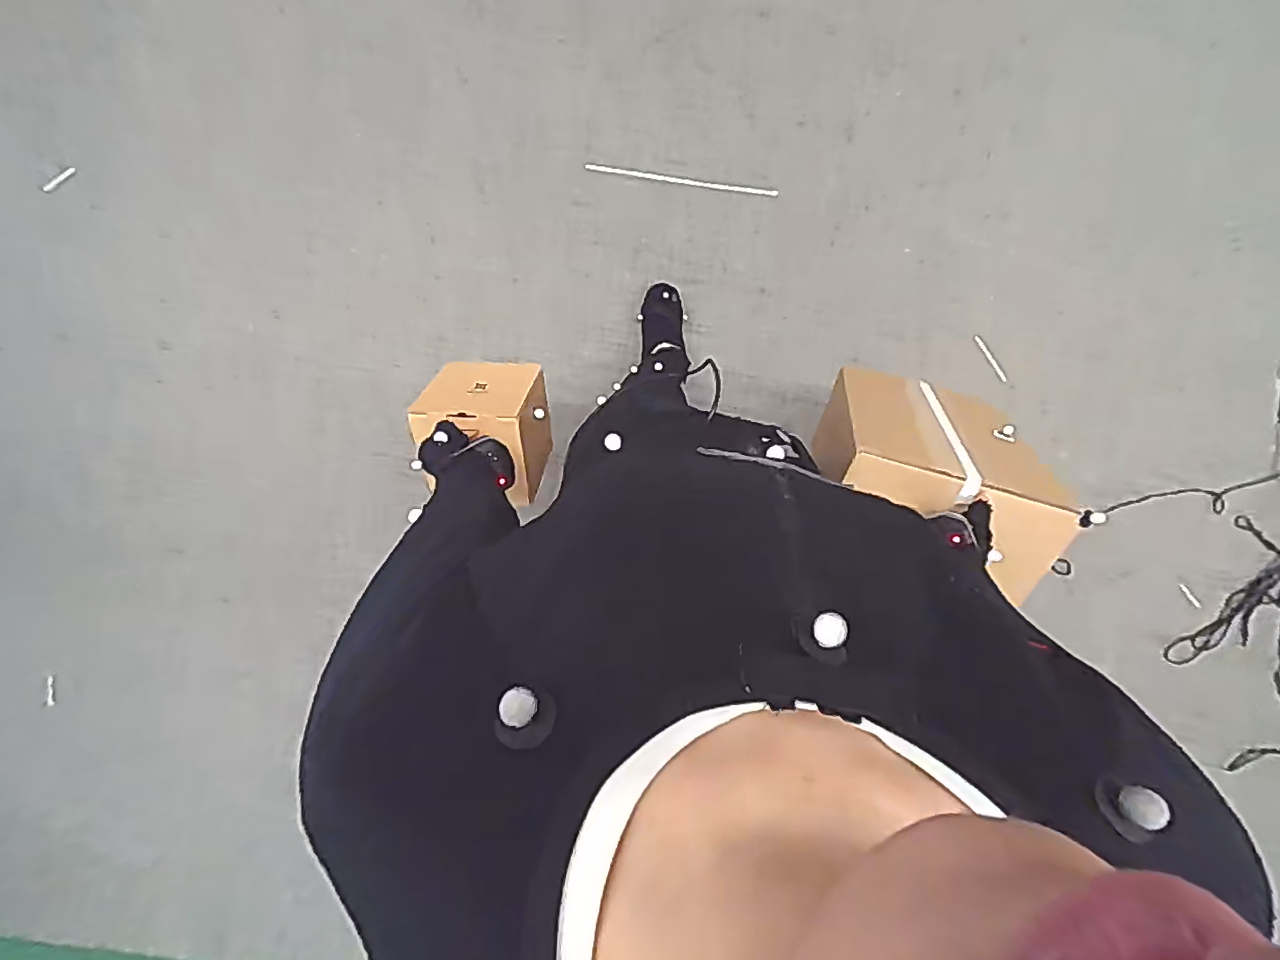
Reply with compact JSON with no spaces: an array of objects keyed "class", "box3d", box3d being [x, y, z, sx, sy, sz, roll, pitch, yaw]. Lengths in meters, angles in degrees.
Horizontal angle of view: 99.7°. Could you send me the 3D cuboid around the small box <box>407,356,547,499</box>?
[{"class":"small box","box3d":[-0.255,-0.090,0.899,0.168,0.179,0.176,3,128,3]}]
